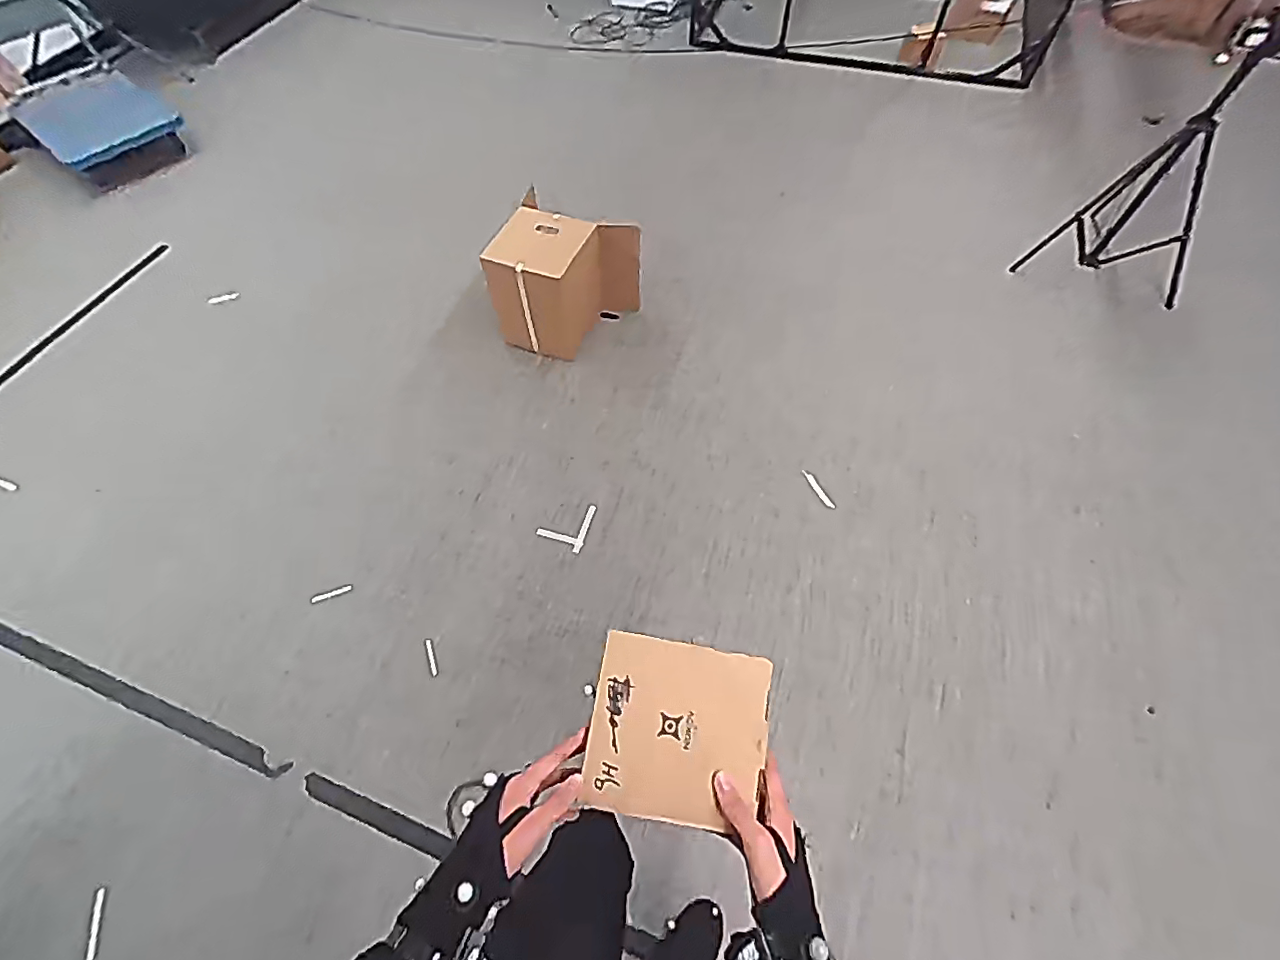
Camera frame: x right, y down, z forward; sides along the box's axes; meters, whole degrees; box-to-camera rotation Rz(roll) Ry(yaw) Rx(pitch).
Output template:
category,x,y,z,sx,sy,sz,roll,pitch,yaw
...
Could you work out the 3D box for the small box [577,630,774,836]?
category,x,y,z,sx,sy,sz,roll,pitch,yaw
small box,0.034,0.267,0.609,0.179,0.176,0.168,11,73,0
